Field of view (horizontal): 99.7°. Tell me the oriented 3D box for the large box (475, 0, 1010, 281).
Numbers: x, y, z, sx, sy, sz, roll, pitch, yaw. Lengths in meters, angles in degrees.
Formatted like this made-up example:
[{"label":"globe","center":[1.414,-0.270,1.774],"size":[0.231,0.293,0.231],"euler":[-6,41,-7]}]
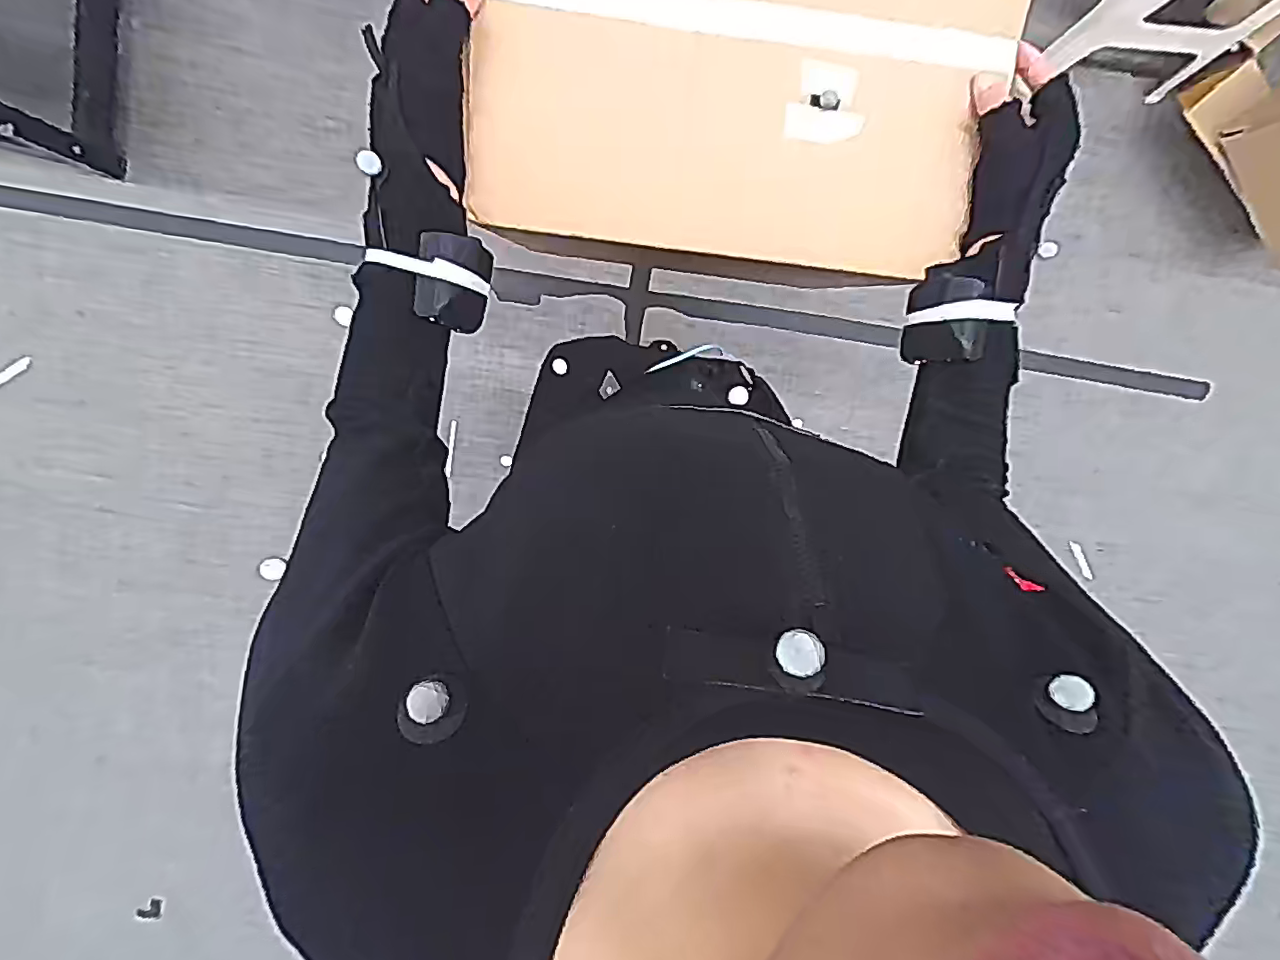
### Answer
[{"label":"large box","center":[0.070,-0.388,0.548],"size":[0.408,0.320,0.320],"euler":[6,109,-4]}]
